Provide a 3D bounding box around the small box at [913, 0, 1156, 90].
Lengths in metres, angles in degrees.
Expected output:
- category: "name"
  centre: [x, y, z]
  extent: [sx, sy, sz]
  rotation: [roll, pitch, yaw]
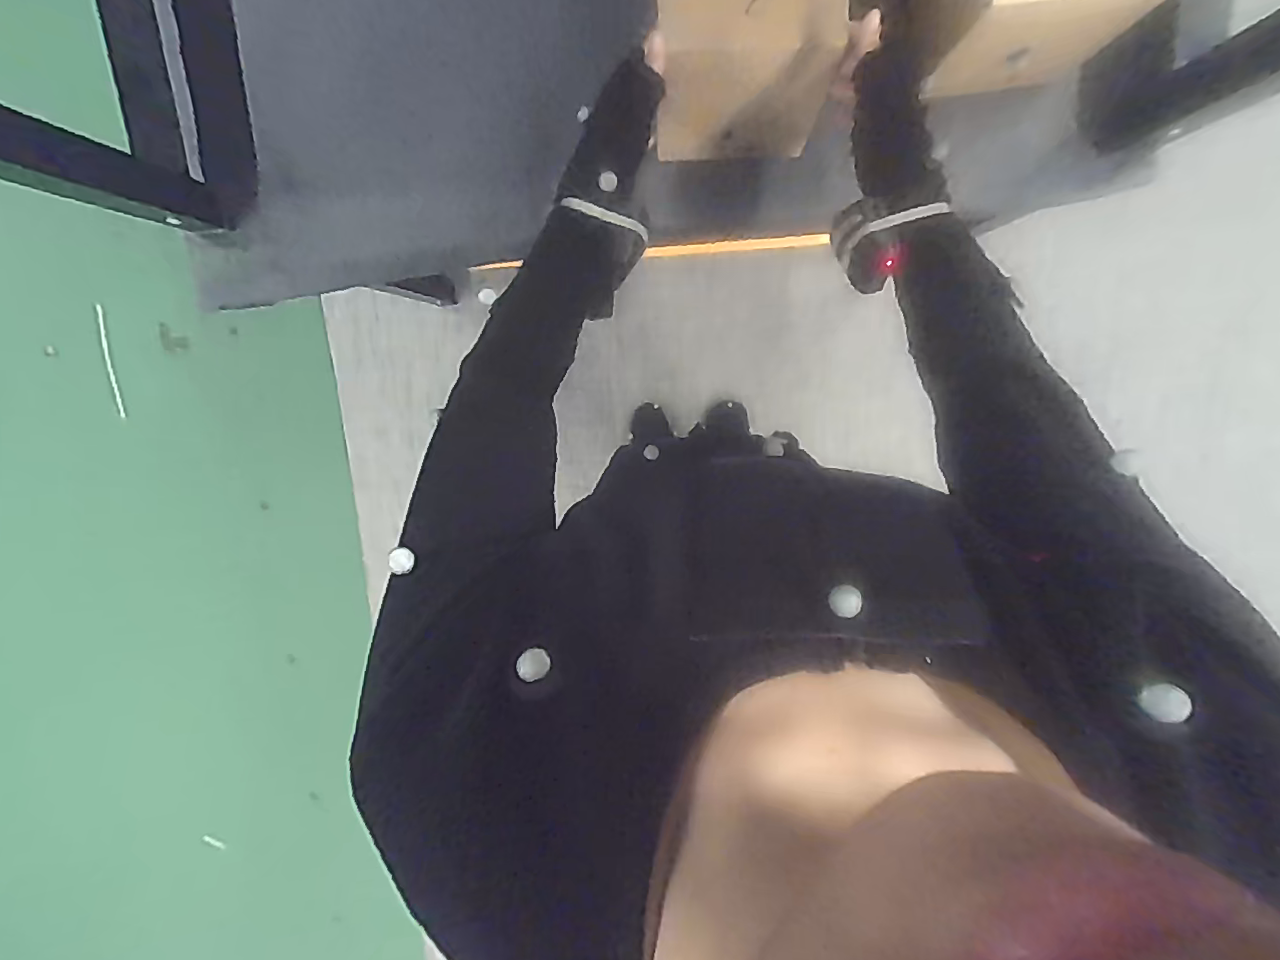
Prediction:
- category: "small box"
  centre: [0.390, -0.520, 0.534]
  extent: [0.168, 0.176, 0.179]
  rotation: [-4, 101, 4]
